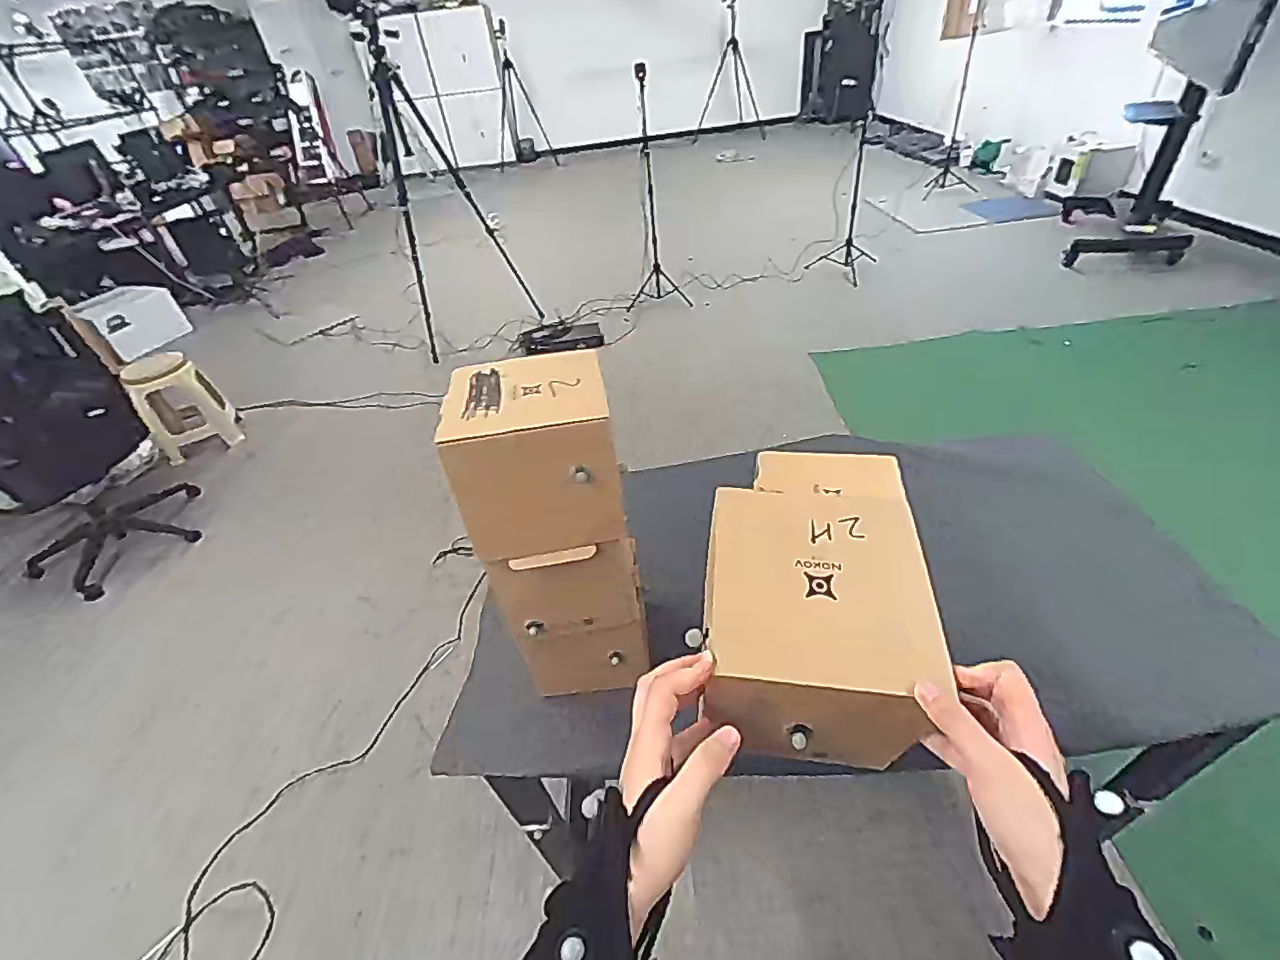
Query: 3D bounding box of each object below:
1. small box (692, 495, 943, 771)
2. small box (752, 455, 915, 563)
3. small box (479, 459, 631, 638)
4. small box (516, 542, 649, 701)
[{"bbox_3d":[0.133,0.135,0.474,0.168,0.176,0.179,3,48,7],"label":"small box"},{"bbox_3d":[0.233,0.085,0.698,0.179,0.176,0.168,1,40,14],"label":"small box"},{"bbox_3d":[-0.109,0.098,0.745,0.168,0.176,0.179,-10,37,-2],"label":"small box"},{"bbox_3d":[-0.080,0.222,0.849,0.179,0.176,0.168,-8,38,2],"label":"small box"}]
